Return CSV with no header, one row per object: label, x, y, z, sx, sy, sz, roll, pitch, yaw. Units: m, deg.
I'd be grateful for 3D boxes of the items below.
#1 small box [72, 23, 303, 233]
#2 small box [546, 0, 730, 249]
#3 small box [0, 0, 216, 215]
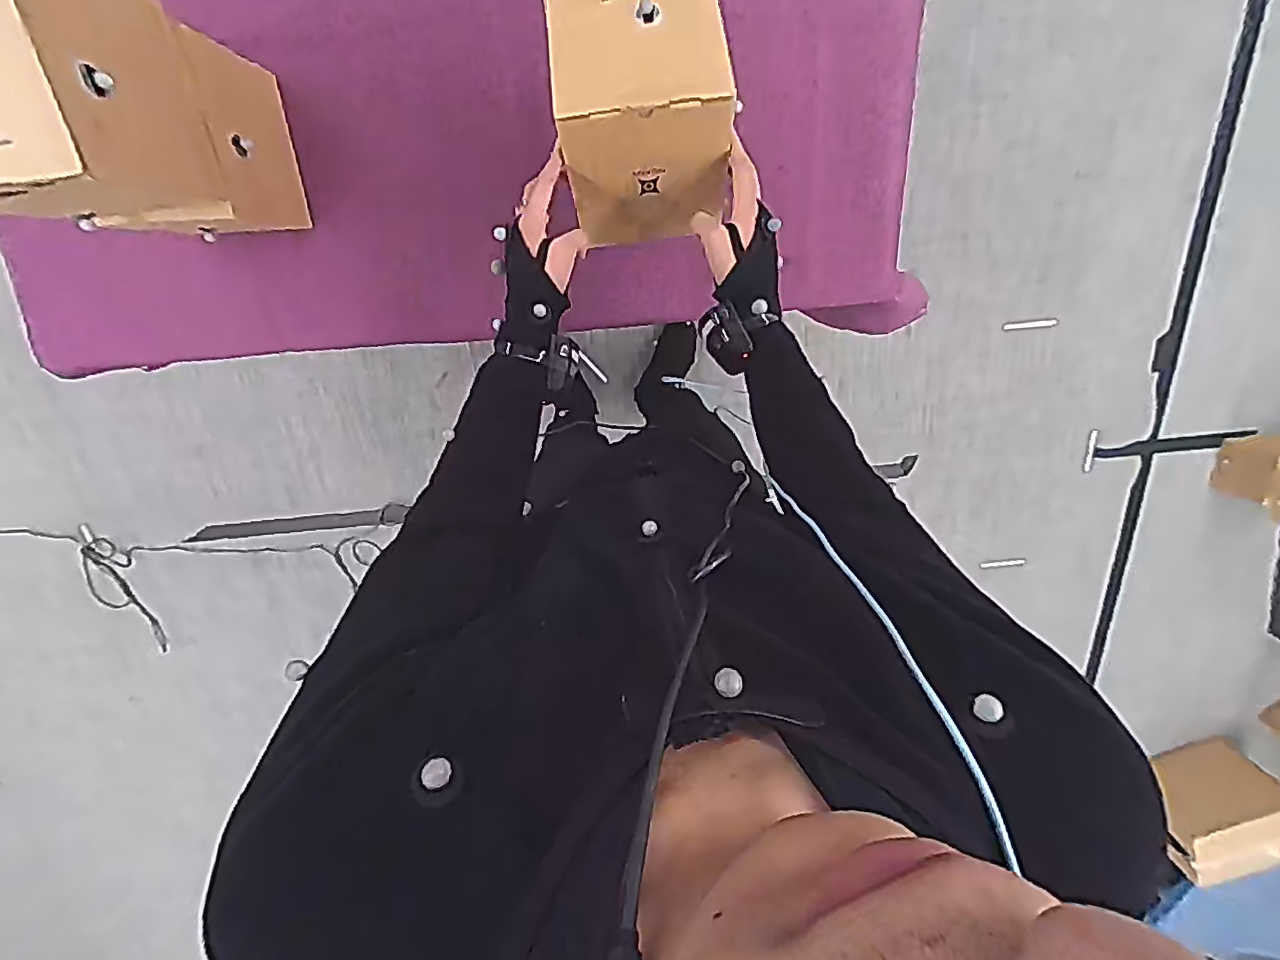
small box,-0.524,-0.382,0.618,0.168,0.176,0.179,-4,112,-3
small box,-0.001,-0.385,0.584,0.168,0.179,0.176,-6,72,2
small box,-0.519,-0.332,0.461,0.168,0.176,0.179,-7,111,-1
